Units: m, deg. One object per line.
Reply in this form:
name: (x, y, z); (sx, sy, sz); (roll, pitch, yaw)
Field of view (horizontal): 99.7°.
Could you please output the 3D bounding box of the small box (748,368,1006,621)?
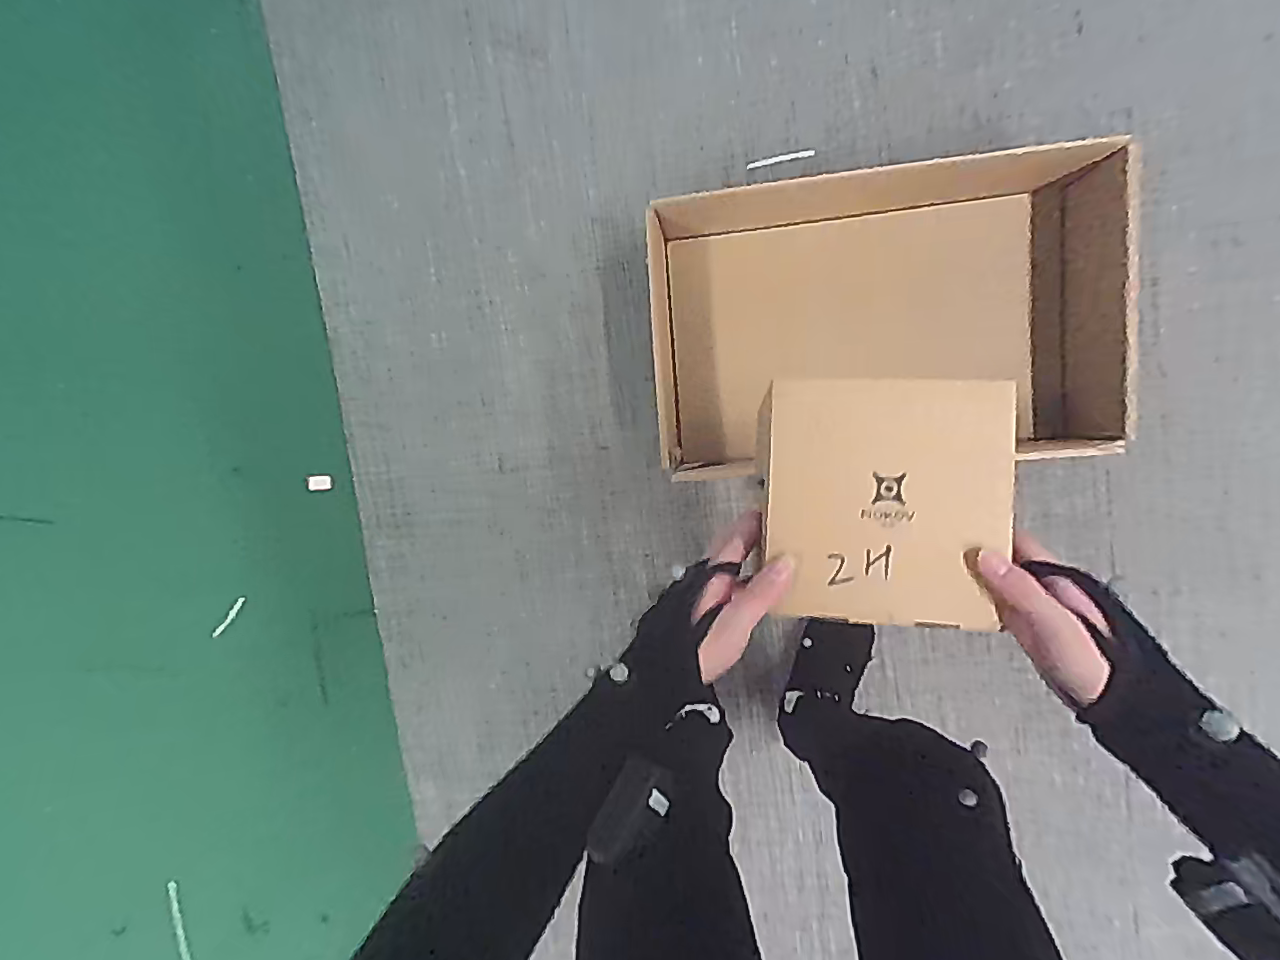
small box: (0.183, 0.010, 0.466); (0.168, 0.176, 0.179); (3, 89, 9)
